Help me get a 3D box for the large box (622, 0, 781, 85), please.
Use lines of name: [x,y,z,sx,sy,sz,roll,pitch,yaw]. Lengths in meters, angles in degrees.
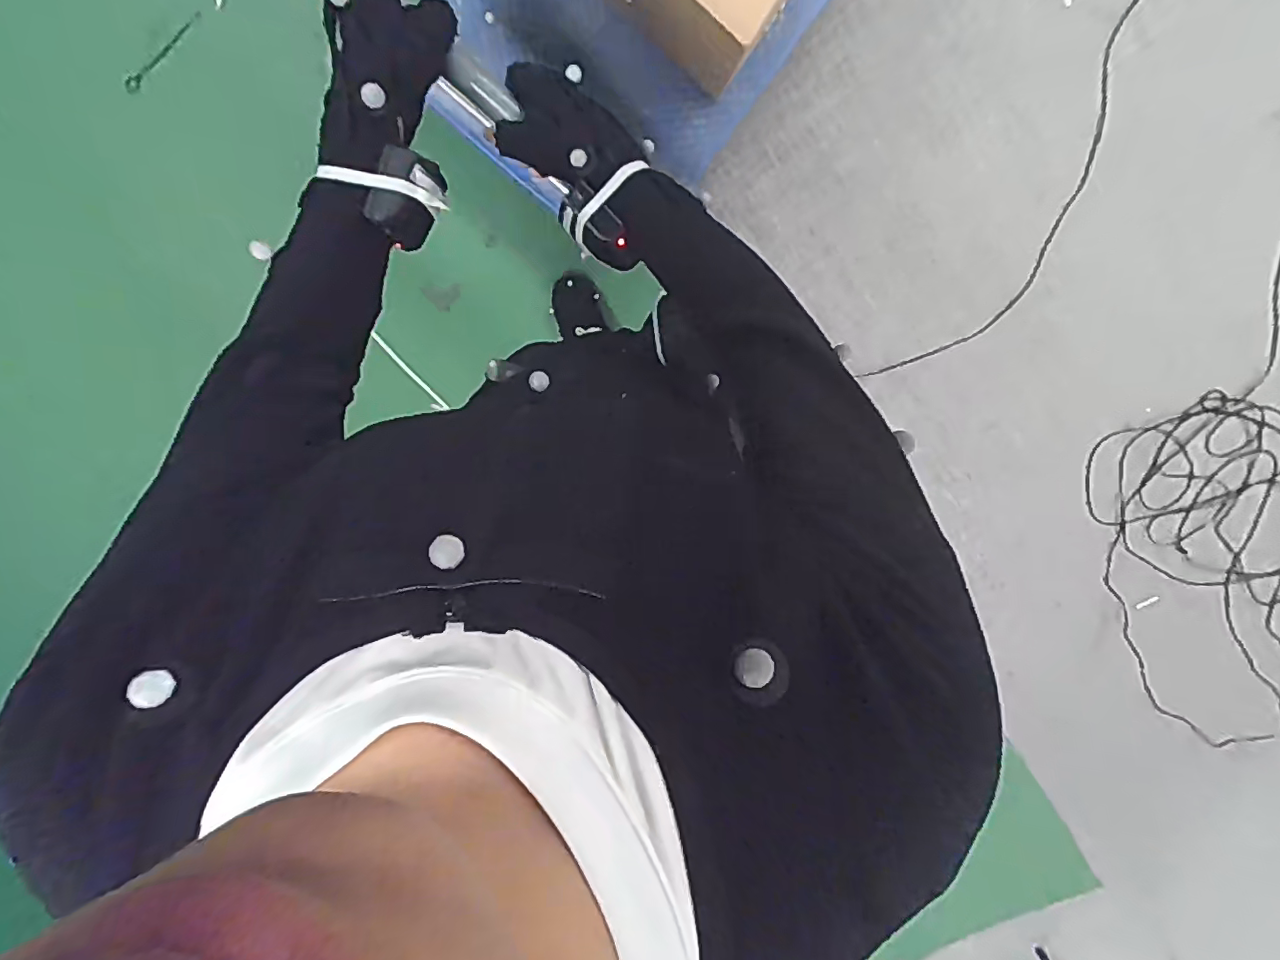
large box: [0.081,-0.904,0.805,0.408,0.320,0.320,34,109,-14]
